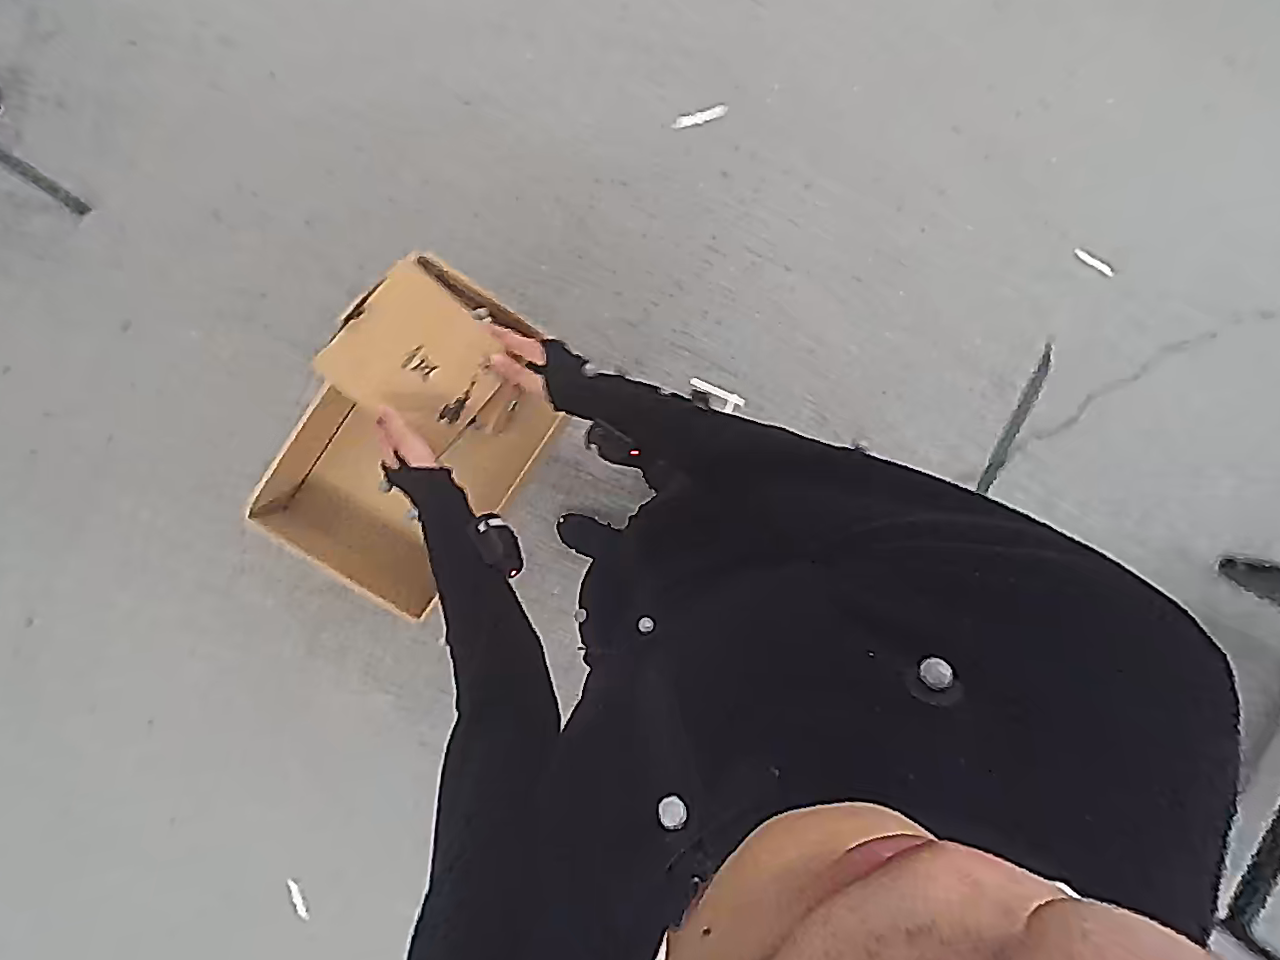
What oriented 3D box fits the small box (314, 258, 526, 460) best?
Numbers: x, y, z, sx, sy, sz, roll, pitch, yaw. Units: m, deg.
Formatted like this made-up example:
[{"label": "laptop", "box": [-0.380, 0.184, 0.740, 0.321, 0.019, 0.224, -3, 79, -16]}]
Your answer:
[{"label": "small box", "box": [-0.268, -0.151, 0.706, 0.179, 0.176, 0.168, 42, 92, -15]}]
